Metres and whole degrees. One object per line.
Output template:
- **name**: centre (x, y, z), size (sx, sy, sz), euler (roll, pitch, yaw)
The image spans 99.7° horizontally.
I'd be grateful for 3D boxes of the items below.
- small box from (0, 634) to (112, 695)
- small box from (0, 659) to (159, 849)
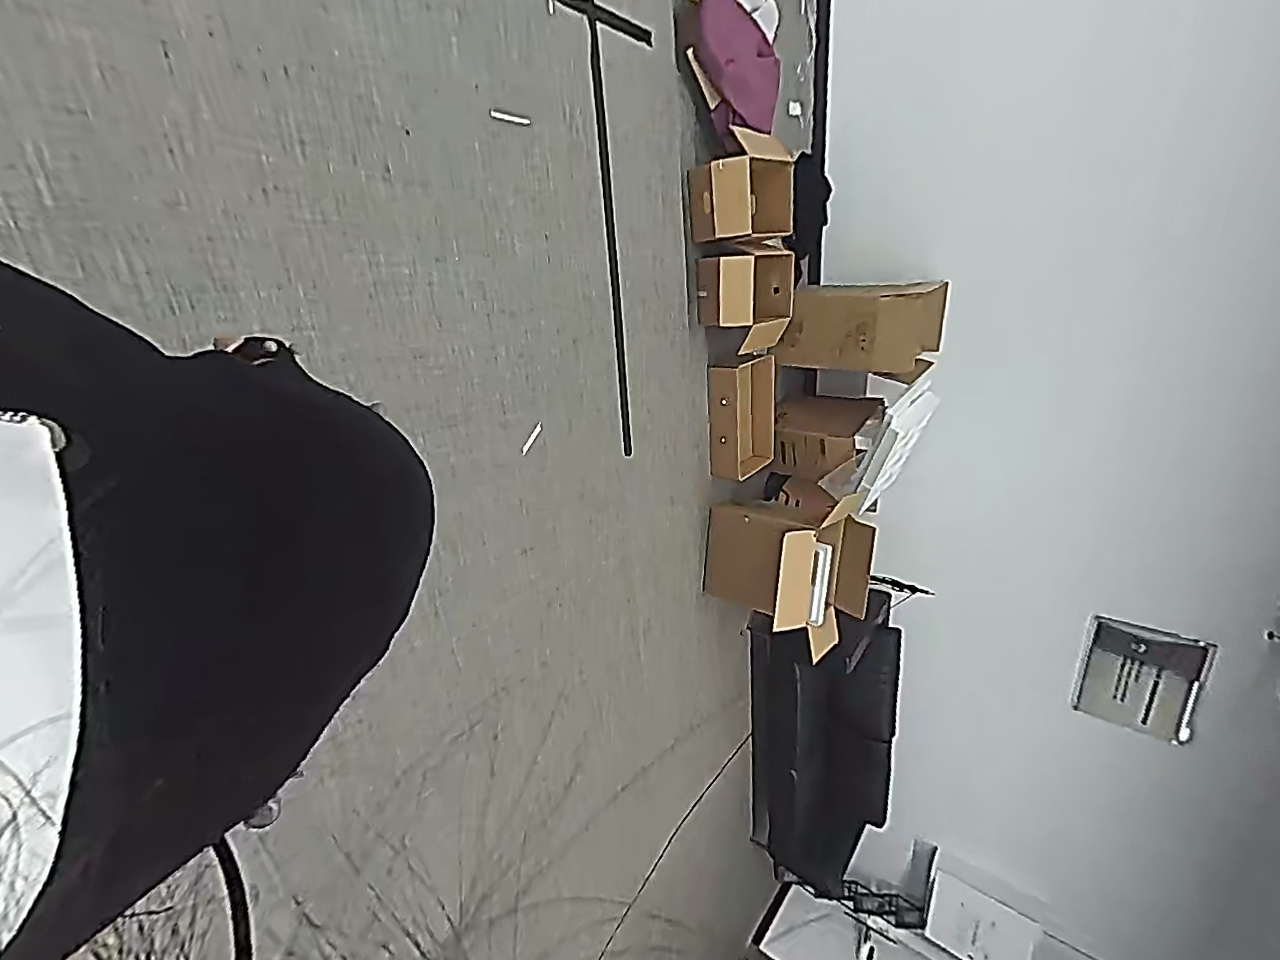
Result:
- **small box**: centre (-1.050, 0.395, 0.956), size (0.168, 0.176, 0.179), euler (-24, 118, -46)
- **small box**: centre (-0.920, 0.421, 0.859), size (0.168, 0.176, 0.179), euler (-33, 124, -43)
